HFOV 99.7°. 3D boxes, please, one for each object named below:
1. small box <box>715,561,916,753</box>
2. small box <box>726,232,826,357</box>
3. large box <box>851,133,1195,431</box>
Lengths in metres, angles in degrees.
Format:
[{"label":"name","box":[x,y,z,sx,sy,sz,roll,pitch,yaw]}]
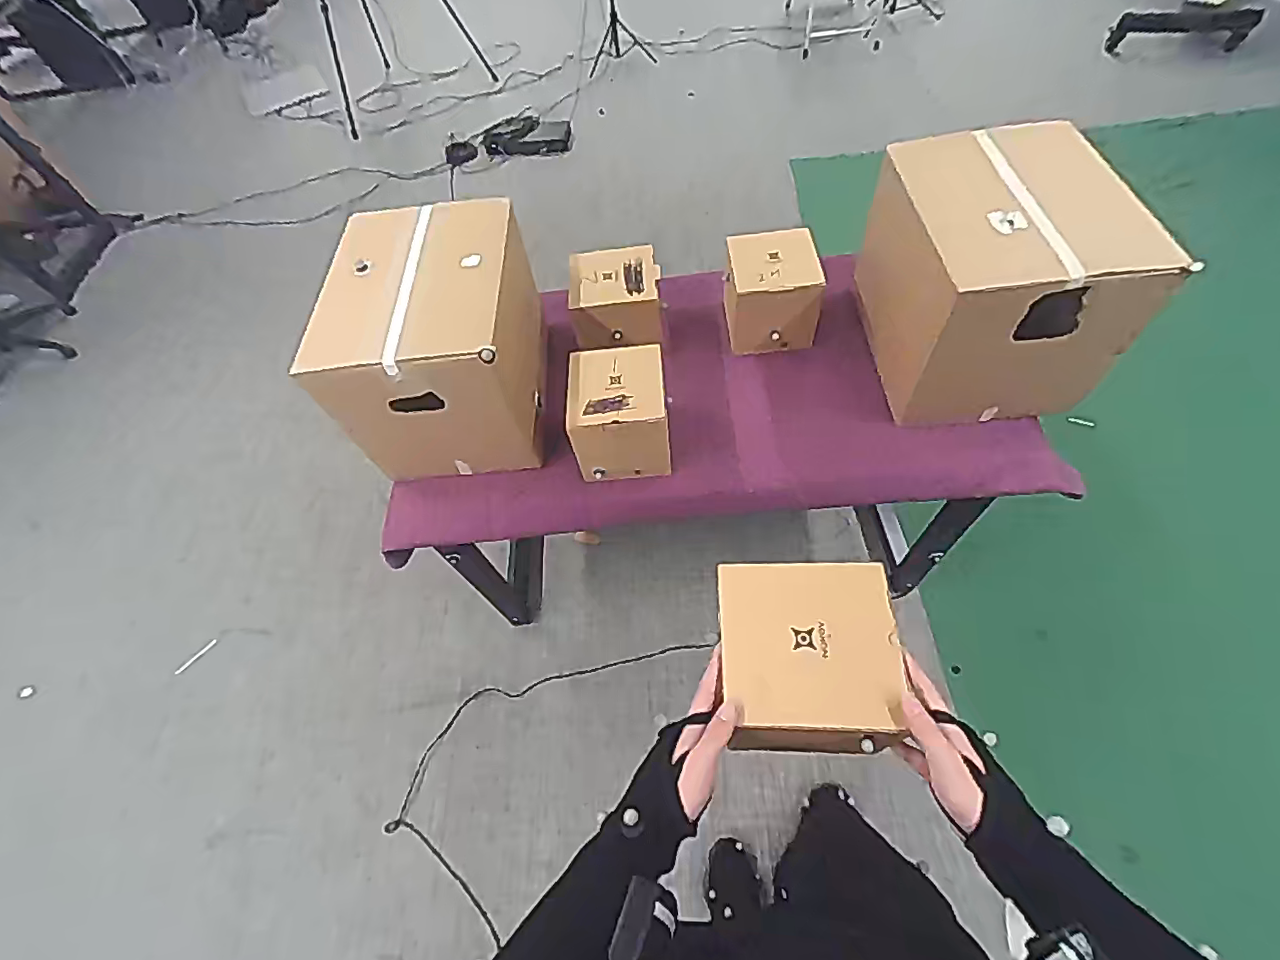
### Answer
[{"label":"small box","box":[0.175,0.201,0.602,0.179,0.176,0.168,-1,56,6]},{"label":"small box","box":[0.268,-0.377,1.113,0.168,0.176,0.179,-4,58,4]},{"label":"large box","box":[0.610,-0.345,0.971,0.320,0.320,0.408,-5,58,6]}]
